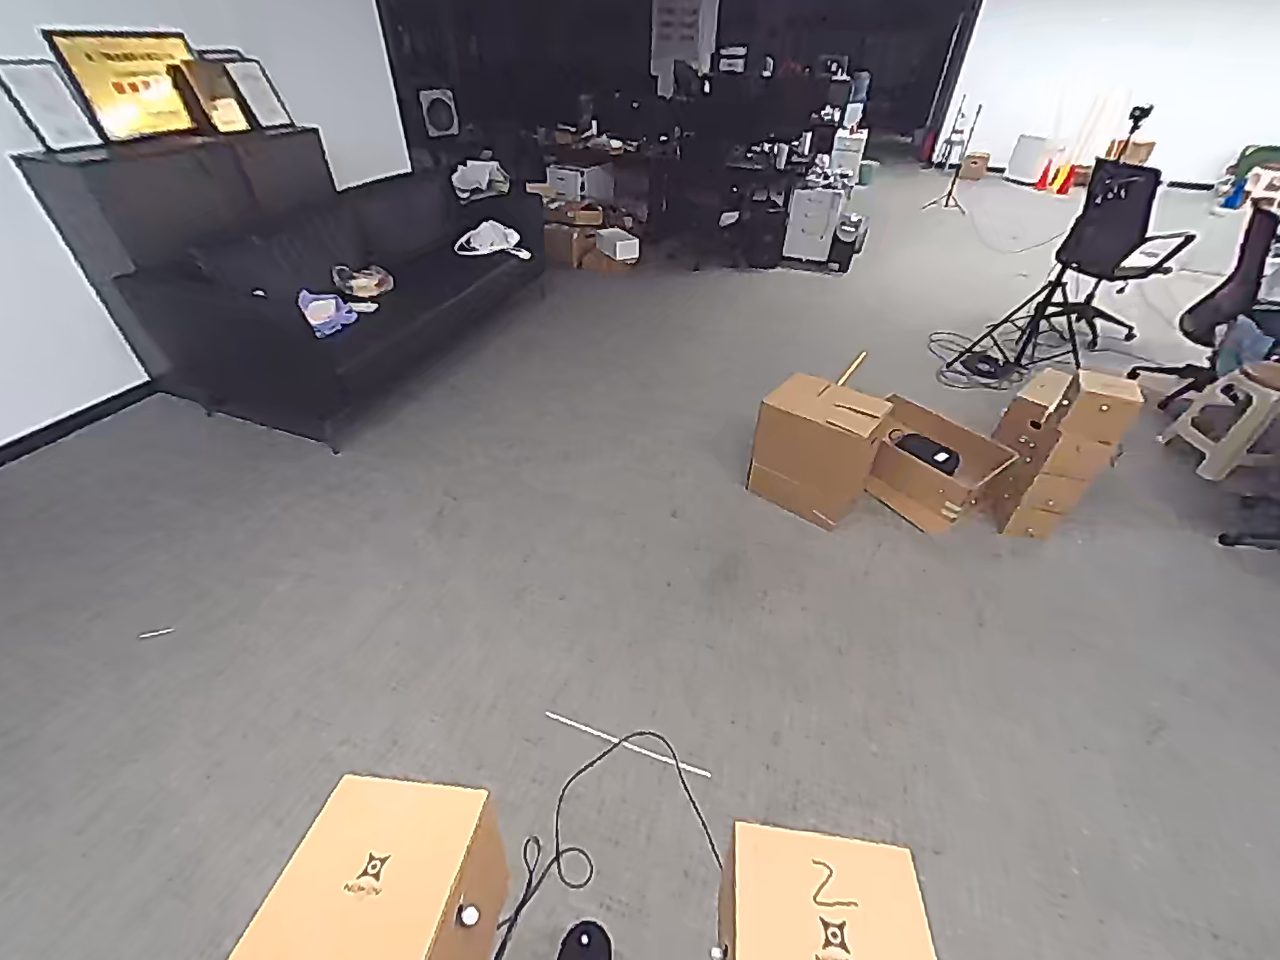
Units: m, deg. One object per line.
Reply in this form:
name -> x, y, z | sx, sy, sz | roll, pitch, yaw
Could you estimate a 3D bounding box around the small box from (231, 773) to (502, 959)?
small box -> -0.250, 0.438, 0.548 | 0.168, 0.176, 0.179 | 2, 30, 7
